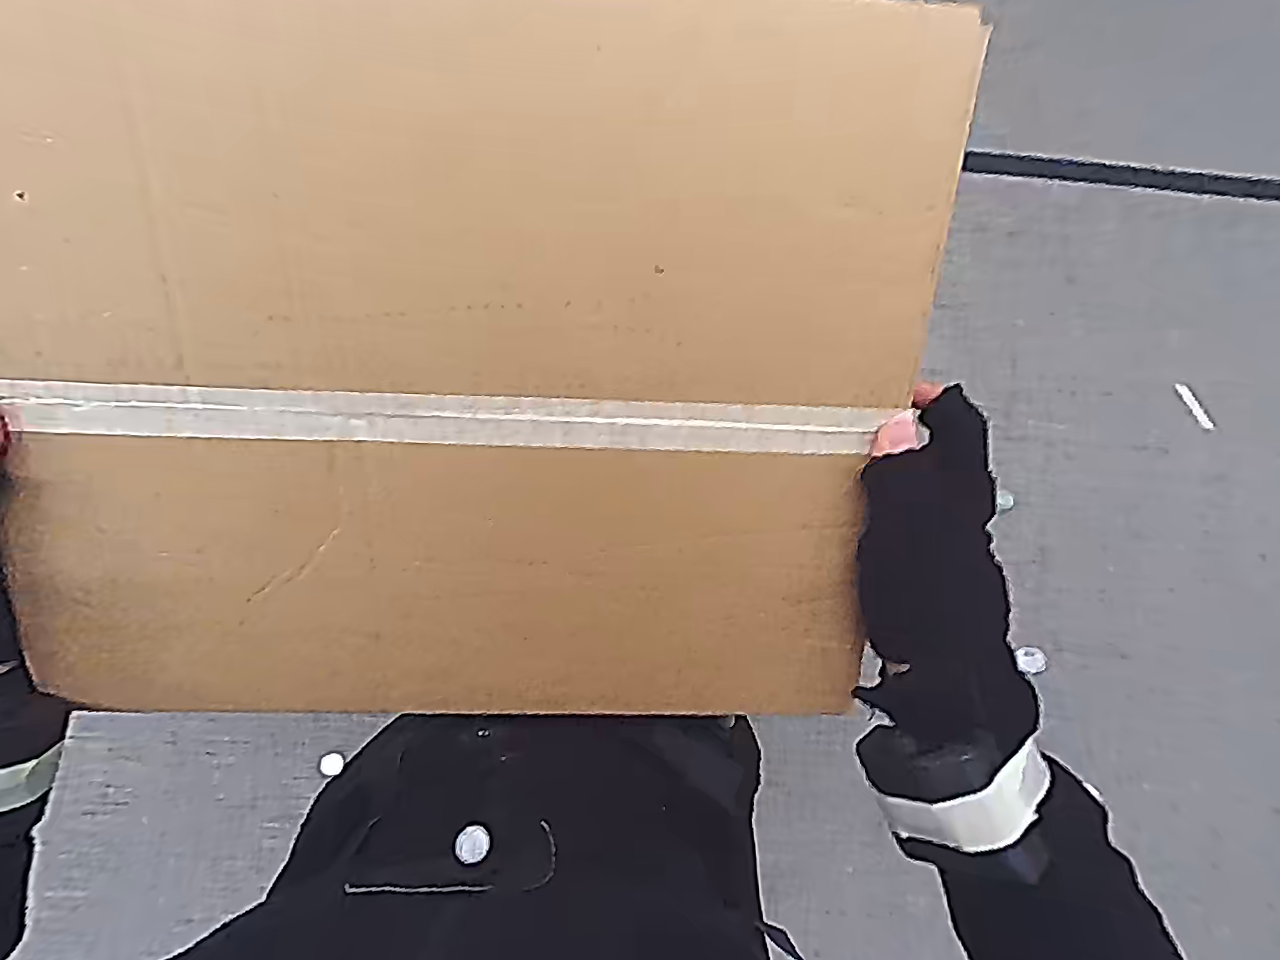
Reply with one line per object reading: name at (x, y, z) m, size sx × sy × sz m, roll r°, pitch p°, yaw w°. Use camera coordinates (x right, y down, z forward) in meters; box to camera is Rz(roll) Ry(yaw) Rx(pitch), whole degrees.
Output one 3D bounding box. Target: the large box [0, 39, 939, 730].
large box at (-0.090, -0.056, 0.388) m, size 0.408 × 0.320 × 0.320 m, roll 2°, pitch 107°, yaw -3°
